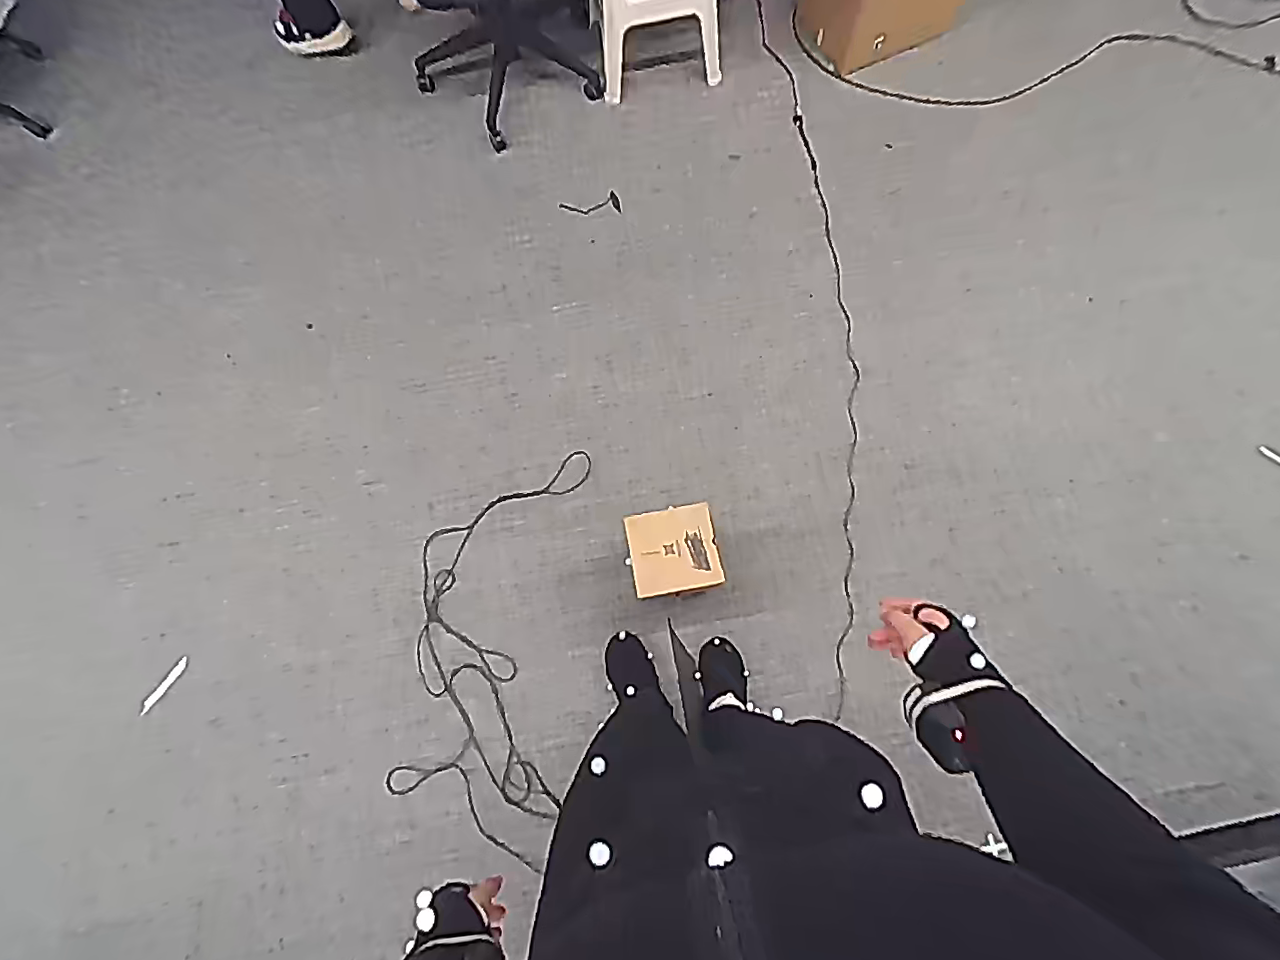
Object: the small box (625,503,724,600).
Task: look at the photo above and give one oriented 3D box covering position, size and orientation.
[{"bbox_3d":[0.069,0.157,1.152,0.179,0.176,0.168,-11,75,0],"label":"small box"}]
